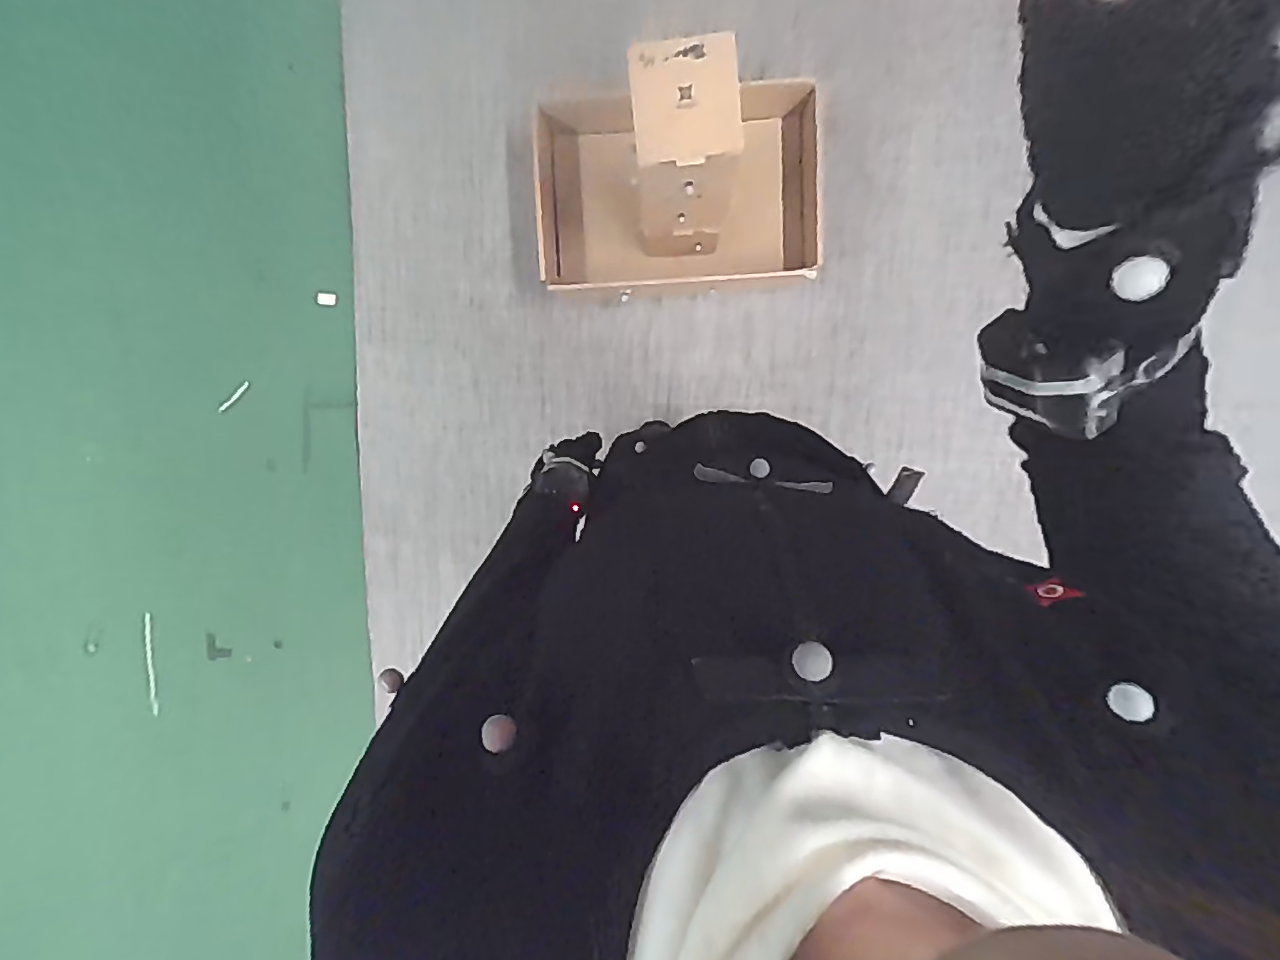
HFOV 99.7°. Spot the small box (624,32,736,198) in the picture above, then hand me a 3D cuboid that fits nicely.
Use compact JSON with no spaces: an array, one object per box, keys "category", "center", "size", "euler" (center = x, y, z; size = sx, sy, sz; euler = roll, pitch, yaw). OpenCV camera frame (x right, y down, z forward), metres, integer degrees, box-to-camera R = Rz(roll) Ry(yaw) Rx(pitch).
[{"category":"small box","center":[0.067,-0.593,0.906],"size":[0.168,0.176,0.179],"euler":[-5,97,4]}]

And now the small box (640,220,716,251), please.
[{"category":"small box","center":[0.087,-0.632,1.230],"size":[0.168,0.176,0.179],"euler":[-1,96,3]}]

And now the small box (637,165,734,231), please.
[{"category":"small box","center":[0.081,-0.610,1.068],"size":[0.179,0.176,0.168],"euler":[-6,97,2]}]
